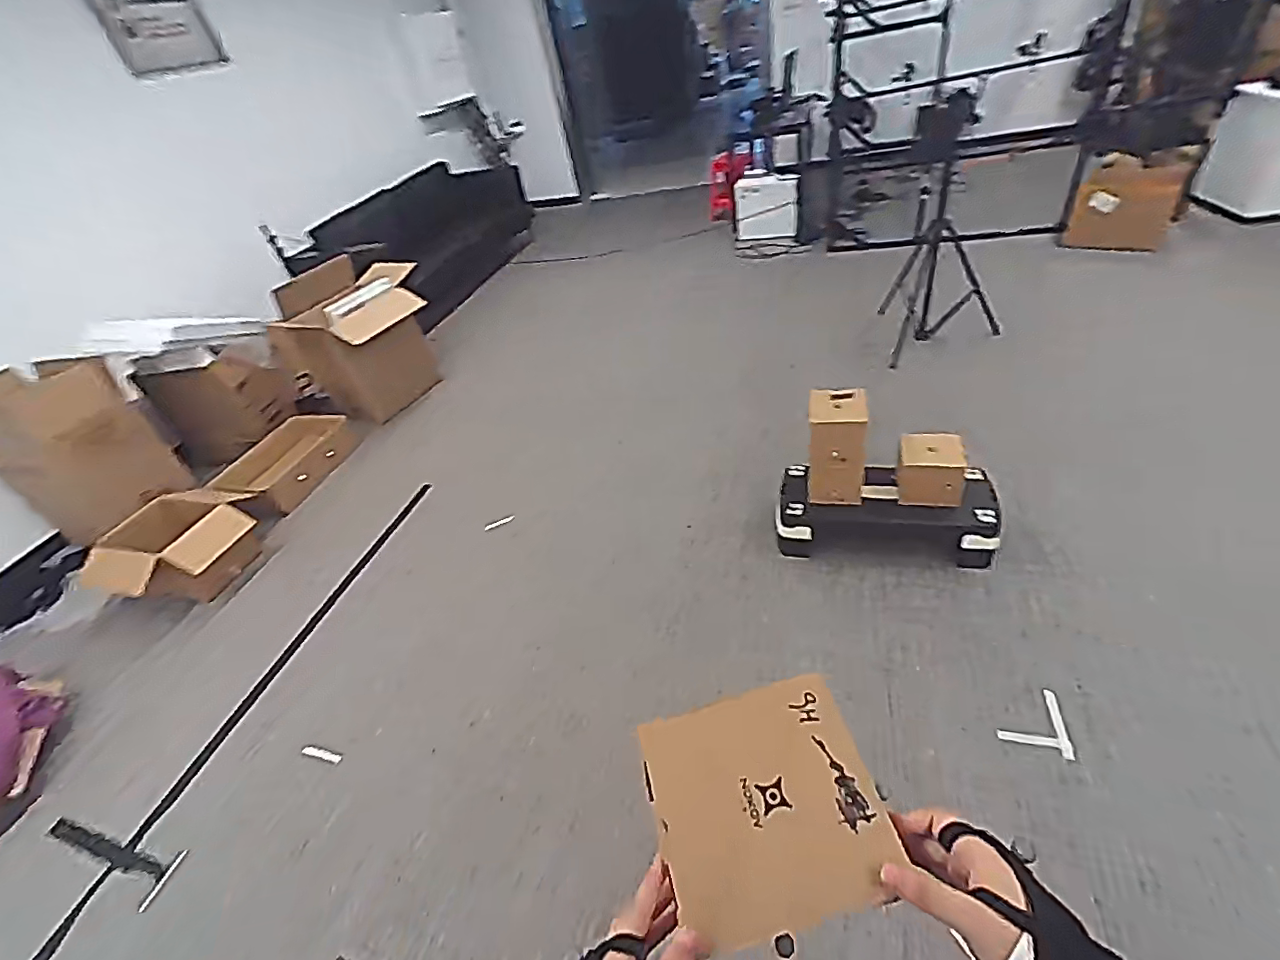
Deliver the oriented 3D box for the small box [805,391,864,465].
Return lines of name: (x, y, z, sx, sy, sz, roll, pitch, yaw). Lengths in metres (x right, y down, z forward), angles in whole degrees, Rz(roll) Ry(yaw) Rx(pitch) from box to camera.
small box: (0.610, -0.166, 1.712, 0.168, 0.176, 0.179, 1, 42, 16)

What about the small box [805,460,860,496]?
small box: (0.640, -0.039, 1.812, 0.168, 0.176, 0.179, 1, 42, 17)

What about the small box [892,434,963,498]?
small box: (0.908, -0.031, 1.727, 0.179, 0.176, 0.168, 1, 41, 18)

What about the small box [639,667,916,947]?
small box: (0.112, 0.300, 0.491, 0.179, 0.176, 0.168, -15, 48, -1)

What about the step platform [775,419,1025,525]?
step platform: (0.778, -0.029, 1.706, 0.684, 0.204, 0.286, 2, 42, 17)
